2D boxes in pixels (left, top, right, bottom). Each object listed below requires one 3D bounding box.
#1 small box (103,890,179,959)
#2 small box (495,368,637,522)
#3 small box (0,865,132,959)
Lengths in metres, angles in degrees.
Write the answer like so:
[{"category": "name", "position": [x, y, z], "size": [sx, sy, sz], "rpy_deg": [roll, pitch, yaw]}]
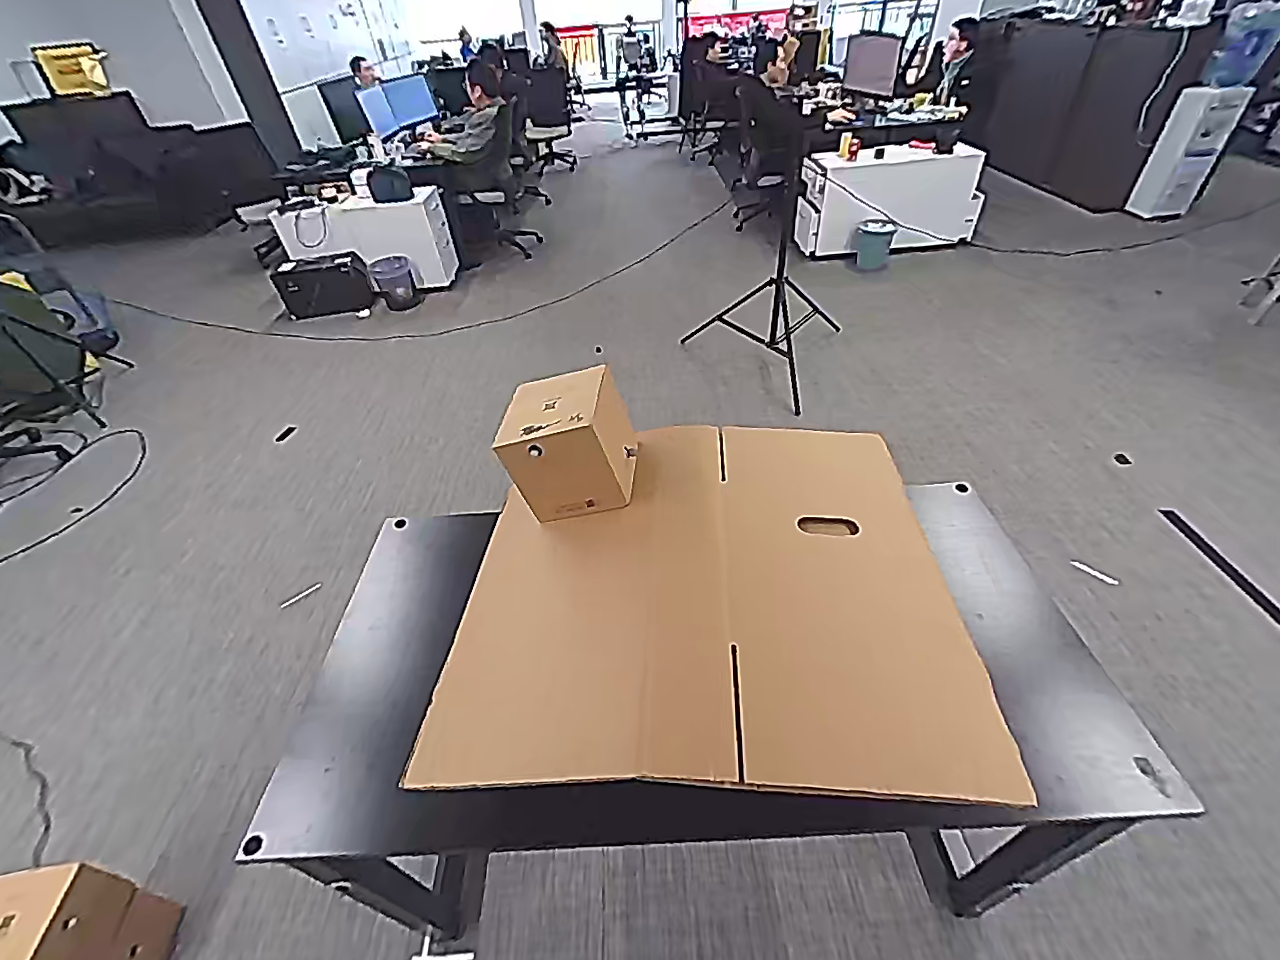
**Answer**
[{"category": "small box", "position": [-1.138, 1.003, 1.143], "size": [0.168, 0.176, 0.179], "rpy_deg": [-7, 42, -2]}, {"category": "small box", "position": [-0.111, -0.056, 0.901], "size": [0.168, 0.176, 0.179], "rpy_deg": [-12, 38, 15]}, {"category": "small box", "position": [-1.151, 0.878, 1.040], "size": [0.168, 0.176, 0.179], "rpy_deg": [-8, 41, -5]}]
